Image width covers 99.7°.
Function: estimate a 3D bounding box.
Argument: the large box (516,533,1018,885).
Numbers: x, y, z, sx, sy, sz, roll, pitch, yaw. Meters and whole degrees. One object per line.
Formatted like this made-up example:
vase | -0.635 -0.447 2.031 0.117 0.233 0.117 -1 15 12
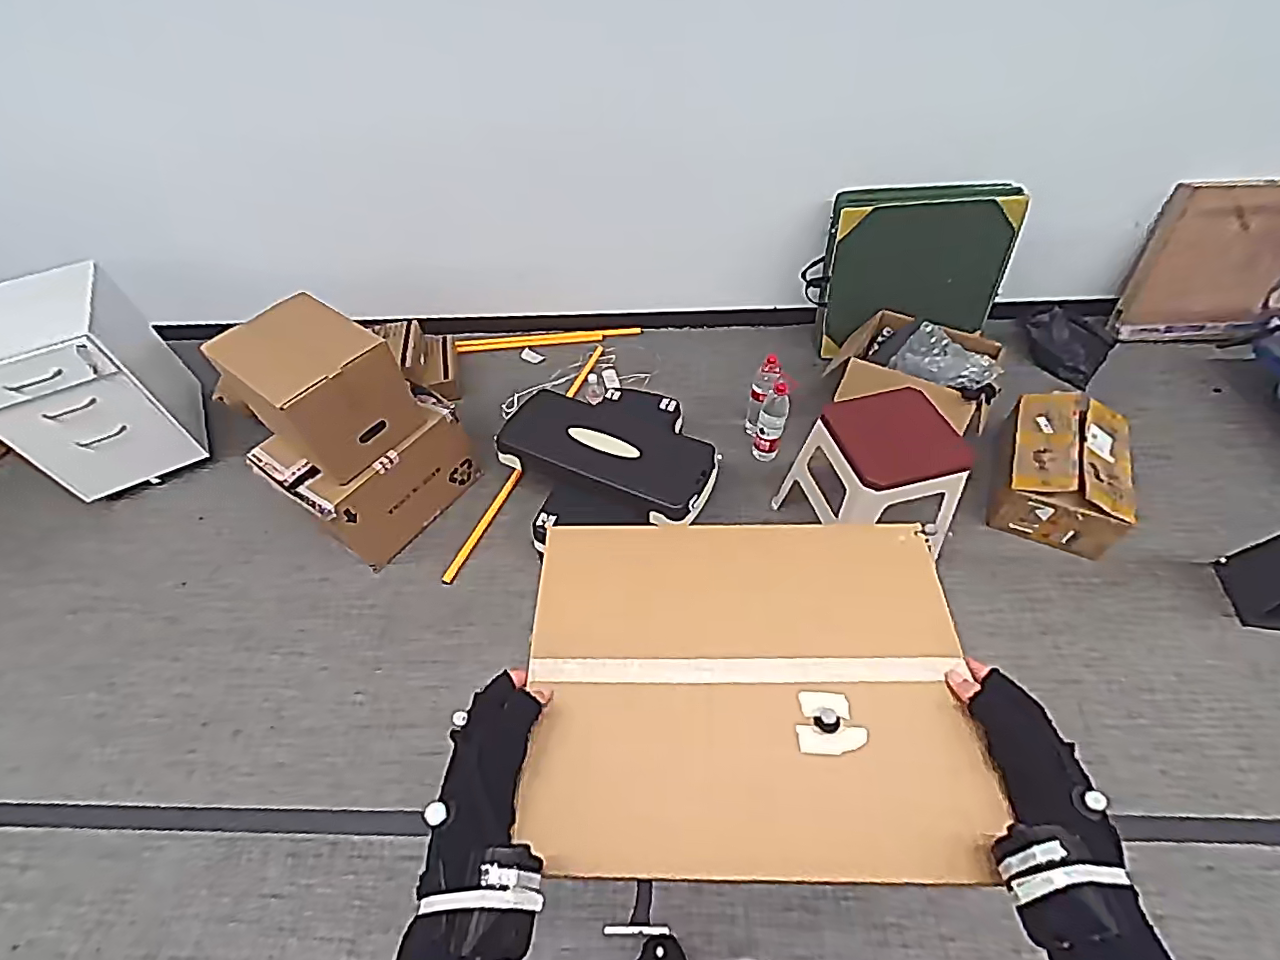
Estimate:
large box | 0.101 0.273 0.629 0.408 0.320 0.320 0 55 2
